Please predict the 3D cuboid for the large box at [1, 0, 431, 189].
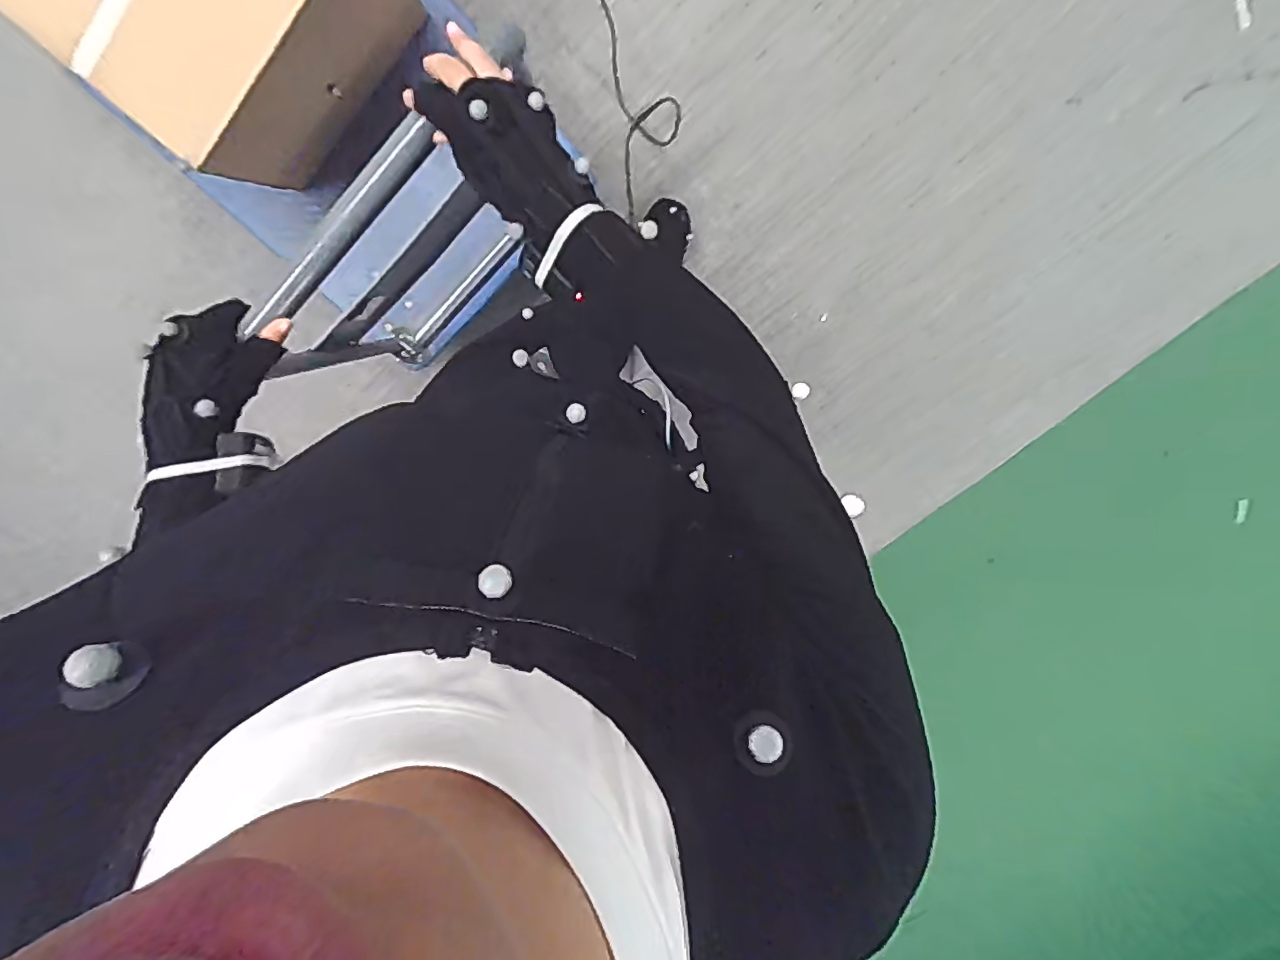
[{"bbox_3d":[-0.594,-0.729,0.820,0.320,0.320,0.408,41,105,-19],"label":"large box"}]
